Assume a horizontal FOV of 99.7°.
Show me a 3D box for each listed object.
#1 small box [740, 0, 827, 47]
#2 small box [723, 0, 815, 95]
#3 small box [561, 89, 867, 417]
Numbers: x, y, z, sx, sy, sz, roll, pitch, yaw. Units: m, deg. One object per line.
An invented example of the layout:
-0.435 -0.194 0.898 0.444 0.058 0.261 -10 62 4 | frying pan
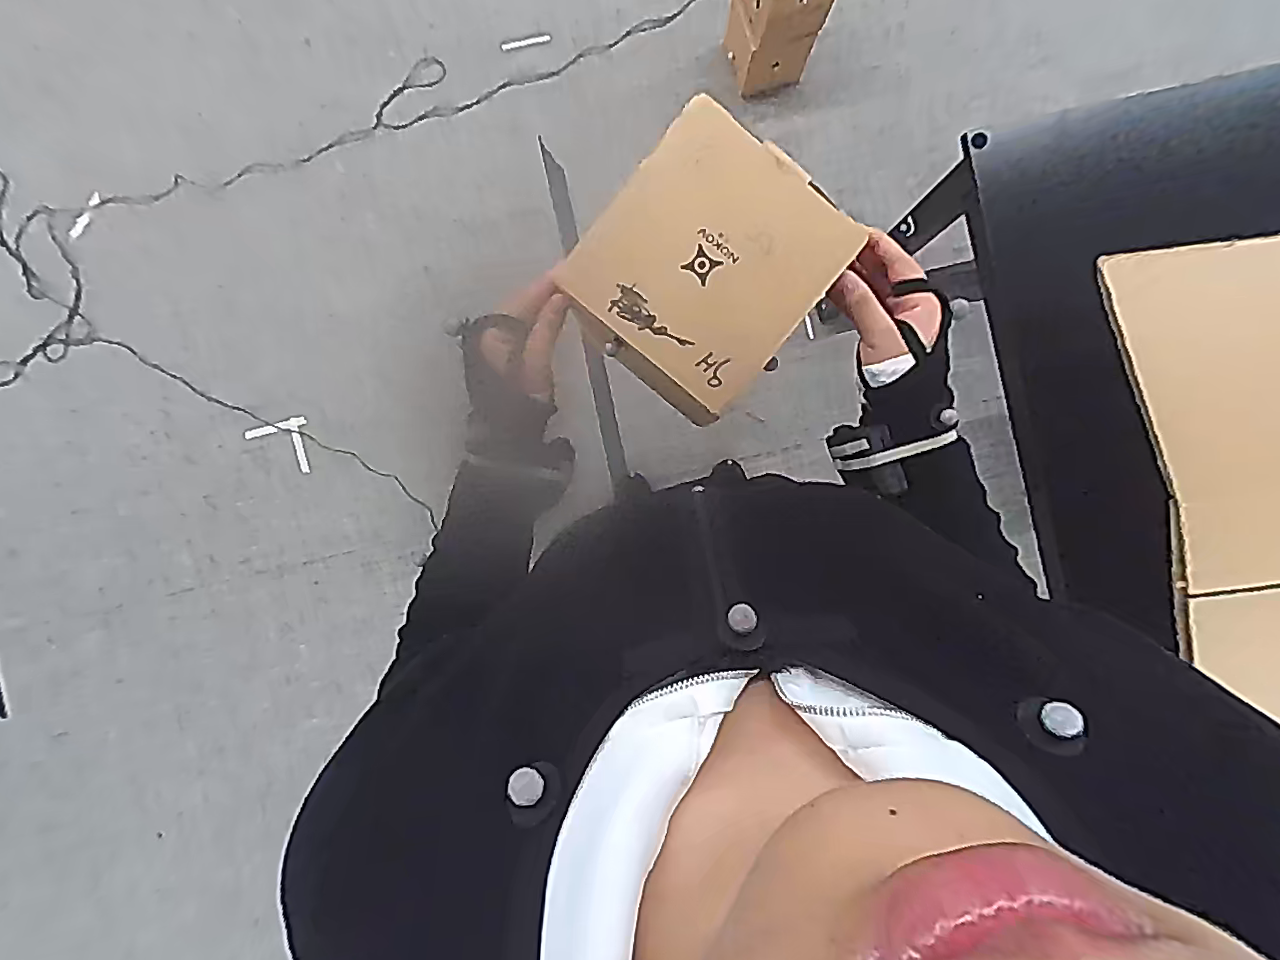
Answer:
0.338 -1.167 1.259 0.179 0.176 0.168 -19 91 -1 | small box
0.331 -1.165 1.422 0.179 0.176 0.168 -16 90 1 | small box
0.055 -0.175 0.481 0.168 0.176 0.179 39 92 0 | small box
